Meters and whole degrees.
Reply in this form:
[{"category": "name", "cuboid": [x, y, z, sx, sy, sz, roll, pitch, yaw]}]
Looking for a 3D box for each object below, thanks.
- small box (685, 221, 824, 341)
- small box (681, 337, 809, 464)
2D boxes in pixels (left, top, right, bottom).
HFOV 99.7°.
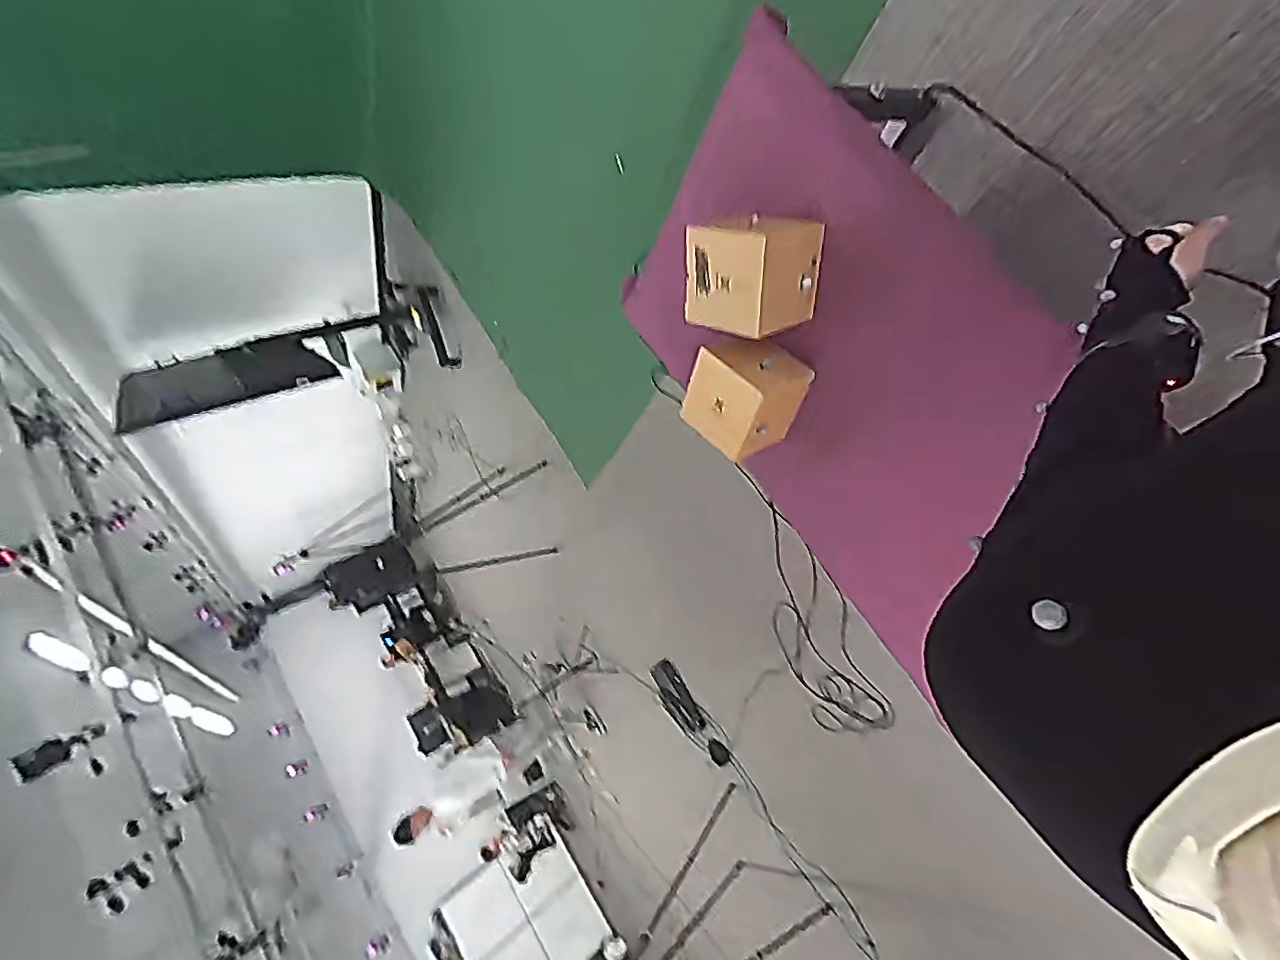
[{"category": "small box", "cuboid": [0.202, -0.368, 0.979, 0.179, 0.176, 0.168, 29, 134, 40]}, {"category": "small box", "cuboid": [0.215, -0.169, 1.101, 0.168, 0.176, 0.179, 44, 142, 26]}]
